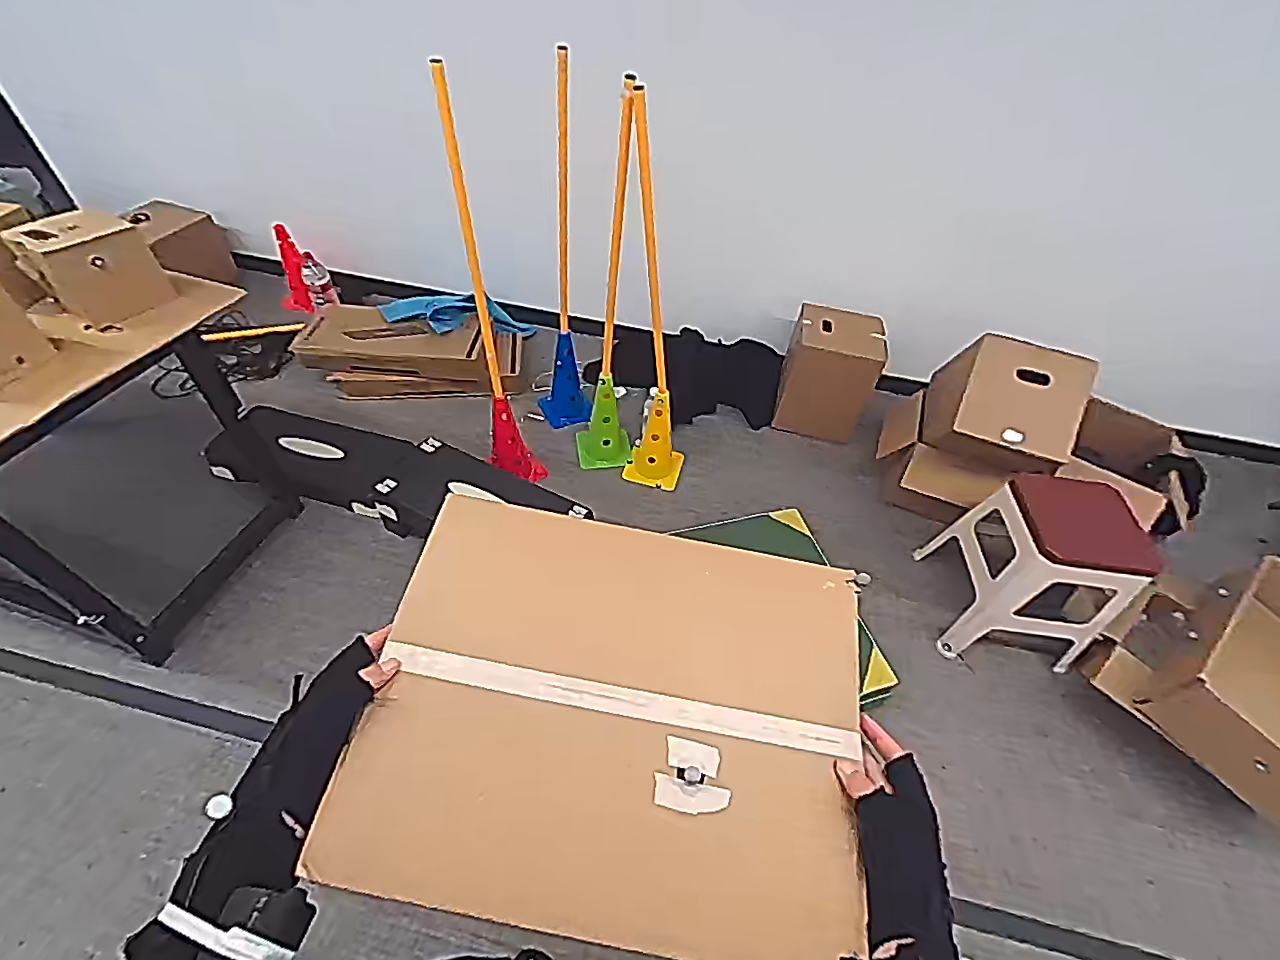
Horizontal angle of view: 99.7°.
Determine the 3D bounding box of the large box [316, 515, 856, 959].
[{"bbox_3d":[-0.032,0.270,0.589,0.408,0.320,0.320,11,60,1],"label":"large box"}]
